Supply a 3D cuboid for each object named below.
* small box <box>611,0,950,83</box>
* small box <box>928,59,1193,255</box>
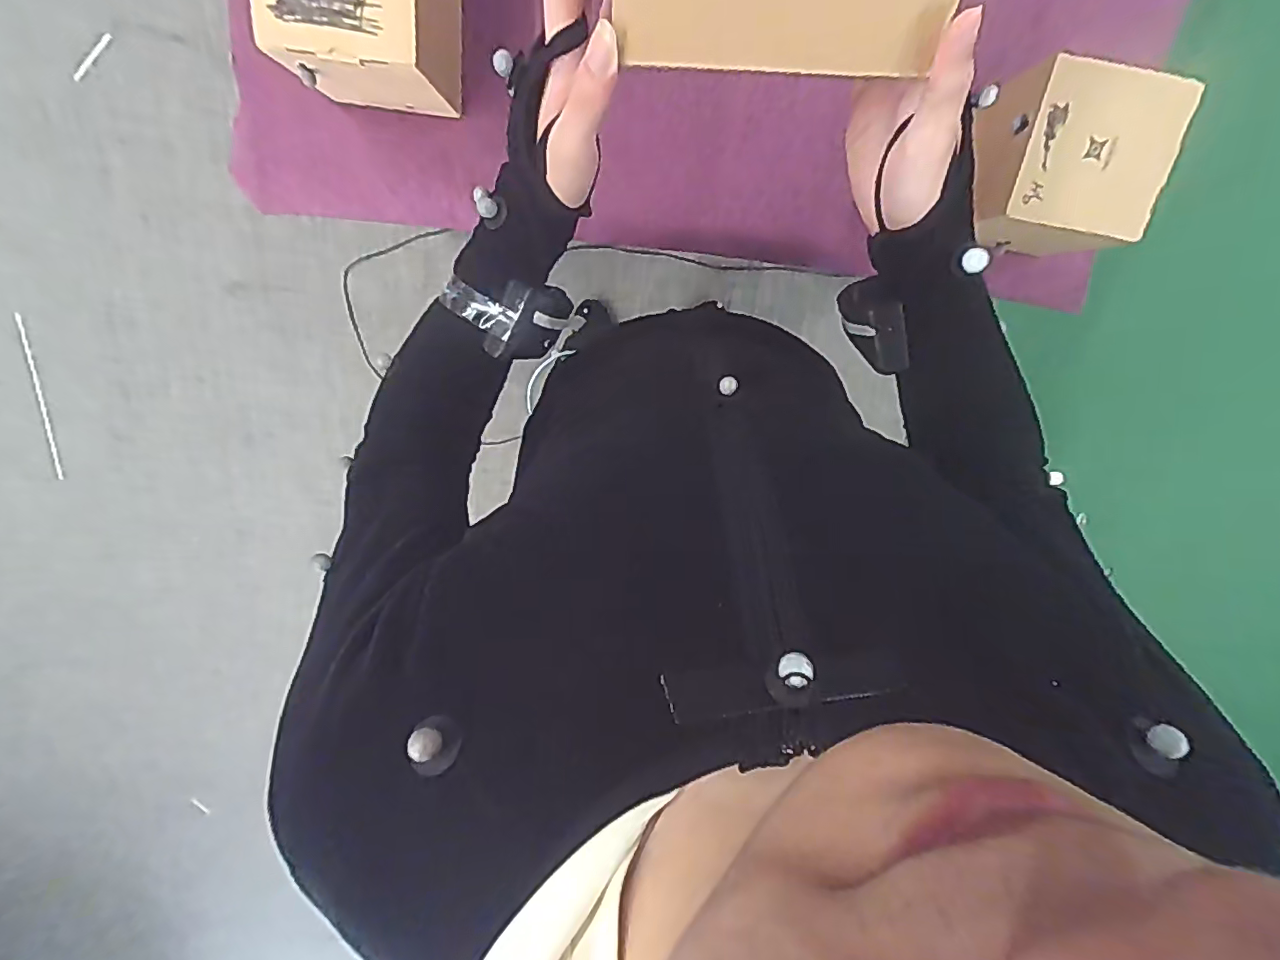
[{"bbox_3d":[0.069,-0.328,0.269,0.168,0.176,0.179,2,139,-2],"label":"small box"},{"bbox_3d":[0.515,-0.393,0.693,0.179,0.176,0.168,9,107,-5],"label":"small box"}]
